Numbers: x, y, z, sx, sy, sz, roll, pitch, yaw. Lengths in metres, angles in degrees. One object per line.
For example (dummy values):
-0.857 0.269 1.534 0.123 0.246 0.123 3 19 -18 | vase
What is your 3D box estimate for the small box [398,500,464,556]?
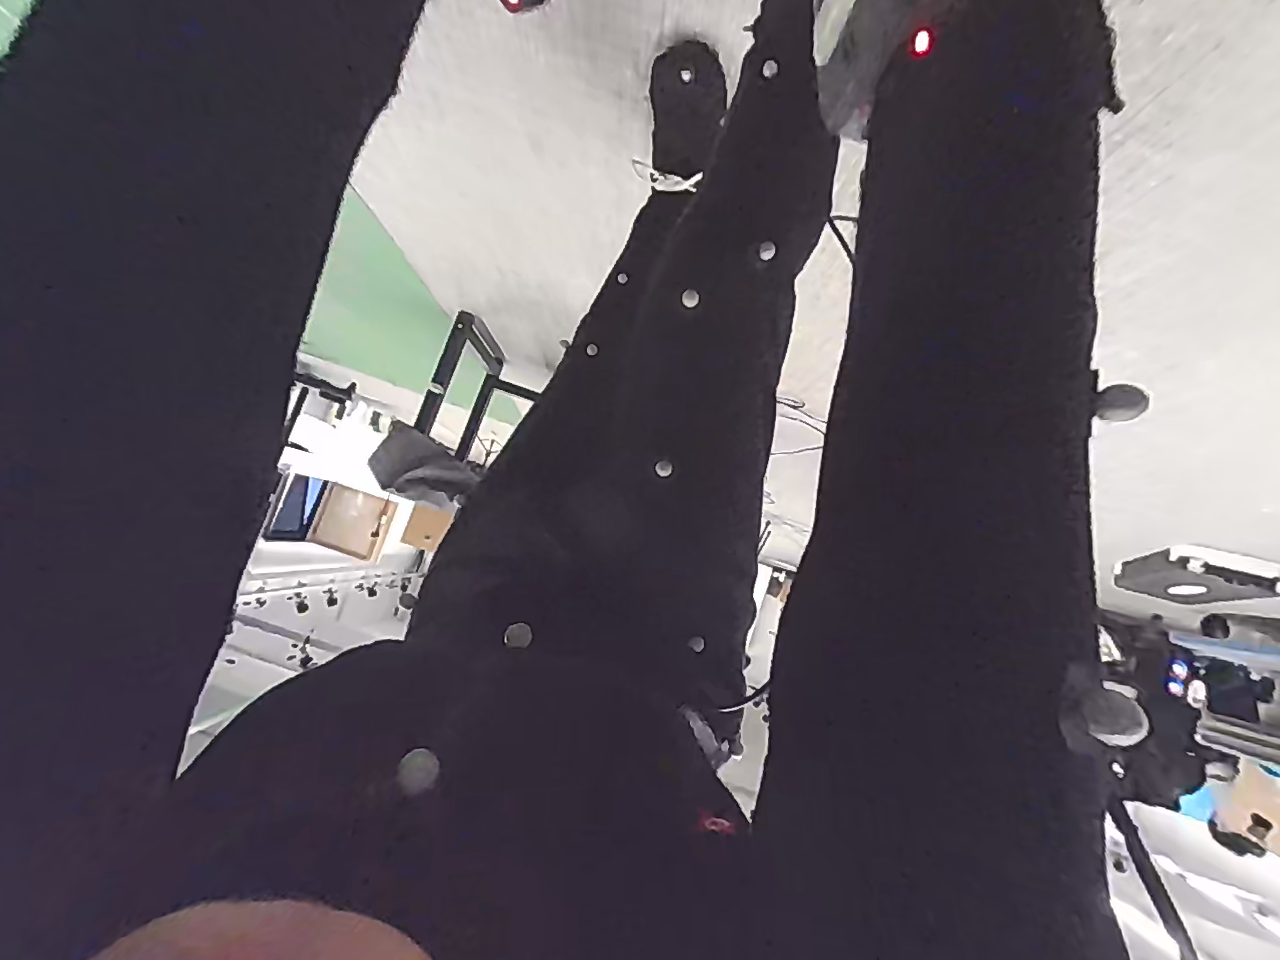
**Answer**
-0.795 0.183 2.081 0.179 0.176 0.168 20 172 -5 | small box
